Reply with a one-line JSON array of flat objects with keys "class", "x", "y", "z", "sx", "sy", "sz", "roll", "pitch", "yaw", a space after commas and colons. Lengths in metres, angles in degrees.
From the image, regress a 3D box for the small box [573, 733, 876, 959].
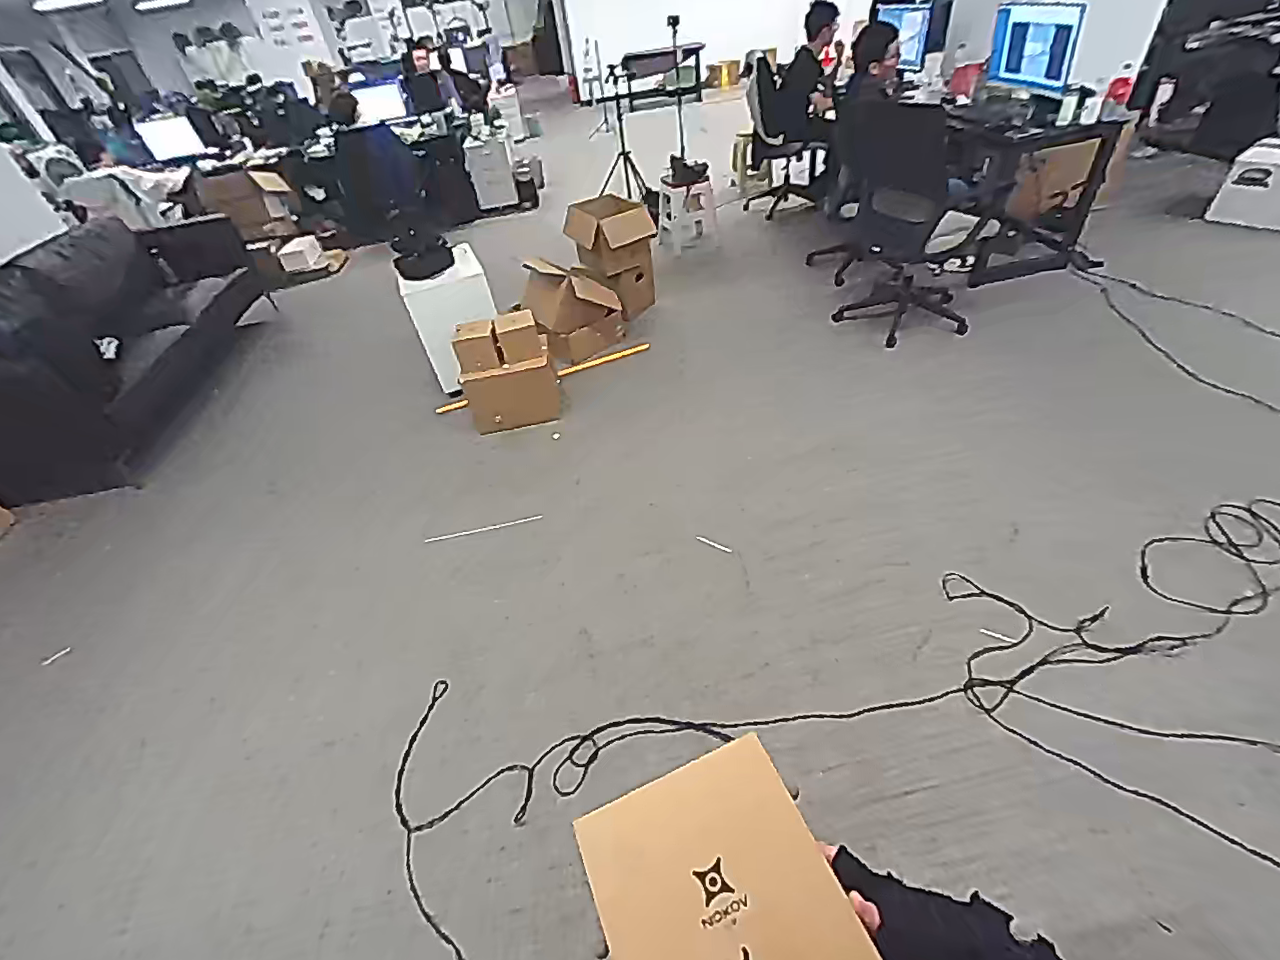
[{"class": "small box", "x": 0.059, "y": 0.346, "z": 0.435, "sx": 0.168, "sy": 0.176, "sz": 0.179, "roll": -21, "pitch": 47, "yaw": -11}]
